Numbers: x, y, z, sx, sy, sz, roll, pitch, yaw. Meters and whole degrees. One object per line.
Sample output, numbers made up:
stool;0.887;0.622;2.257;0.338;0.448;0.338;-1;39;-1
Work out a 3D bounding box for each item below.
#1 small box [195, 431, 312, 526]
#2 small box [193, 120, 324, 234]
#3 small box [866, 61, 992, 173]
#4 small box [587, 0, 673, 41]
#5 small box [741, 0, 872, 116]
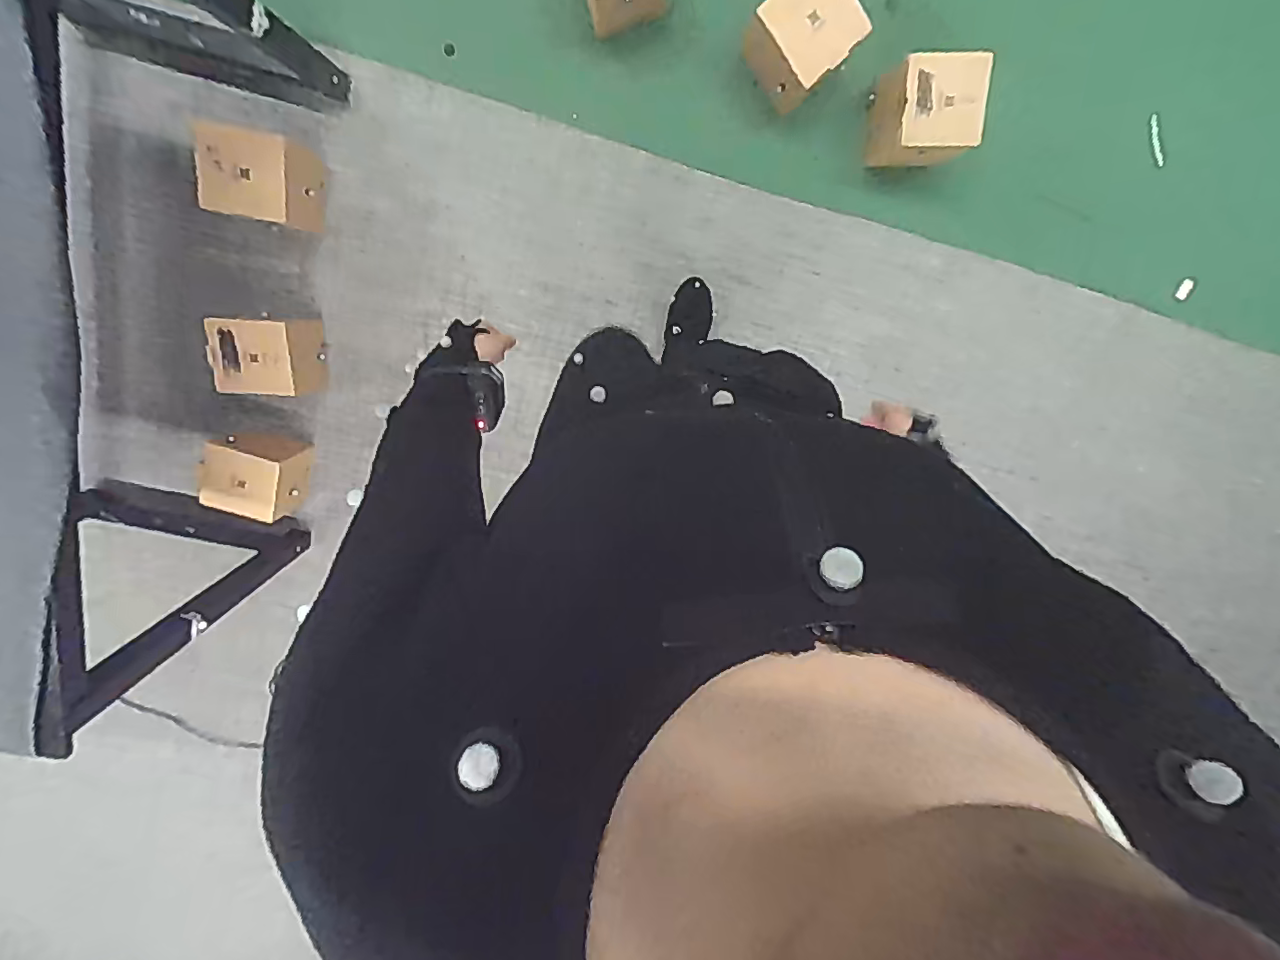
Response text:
small box;-0.968;-0.011;1.366;0.179;0.176;0.168;18;107;-7
small box;-0.809;-0.641;1.166;0.179;0.176;0.168;9;107;-5
small box;0.617;-0.779;1.178;0.179;0.176;0.168;-2;108;-3
small box;-0.034;-1.030;1.073;0.168;0.176;0.179;-17;107;3
small box;0.338;-0.902;1.129;0.168;0.176;0.179;-40;104;9
